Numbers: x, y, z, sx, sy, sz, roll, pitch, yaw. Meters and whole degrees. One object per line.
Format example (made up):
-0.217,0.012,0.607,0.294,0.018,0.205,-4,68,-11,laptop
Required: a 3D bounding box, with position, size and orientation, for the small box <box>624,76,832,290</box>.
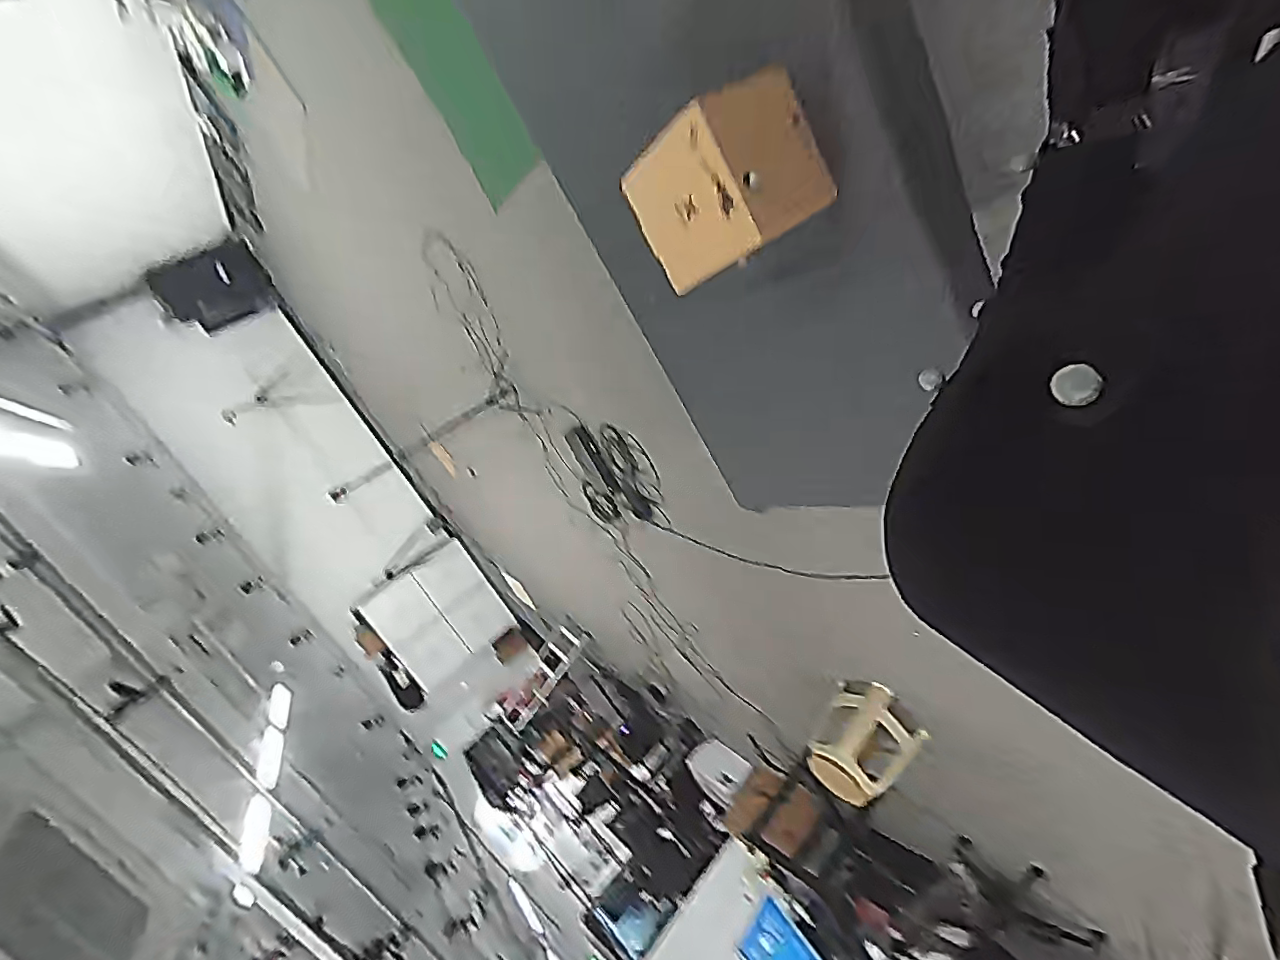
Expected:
0.116,-0.386,0.719,0.168,0.176,0.179,58,154,-14,small box
